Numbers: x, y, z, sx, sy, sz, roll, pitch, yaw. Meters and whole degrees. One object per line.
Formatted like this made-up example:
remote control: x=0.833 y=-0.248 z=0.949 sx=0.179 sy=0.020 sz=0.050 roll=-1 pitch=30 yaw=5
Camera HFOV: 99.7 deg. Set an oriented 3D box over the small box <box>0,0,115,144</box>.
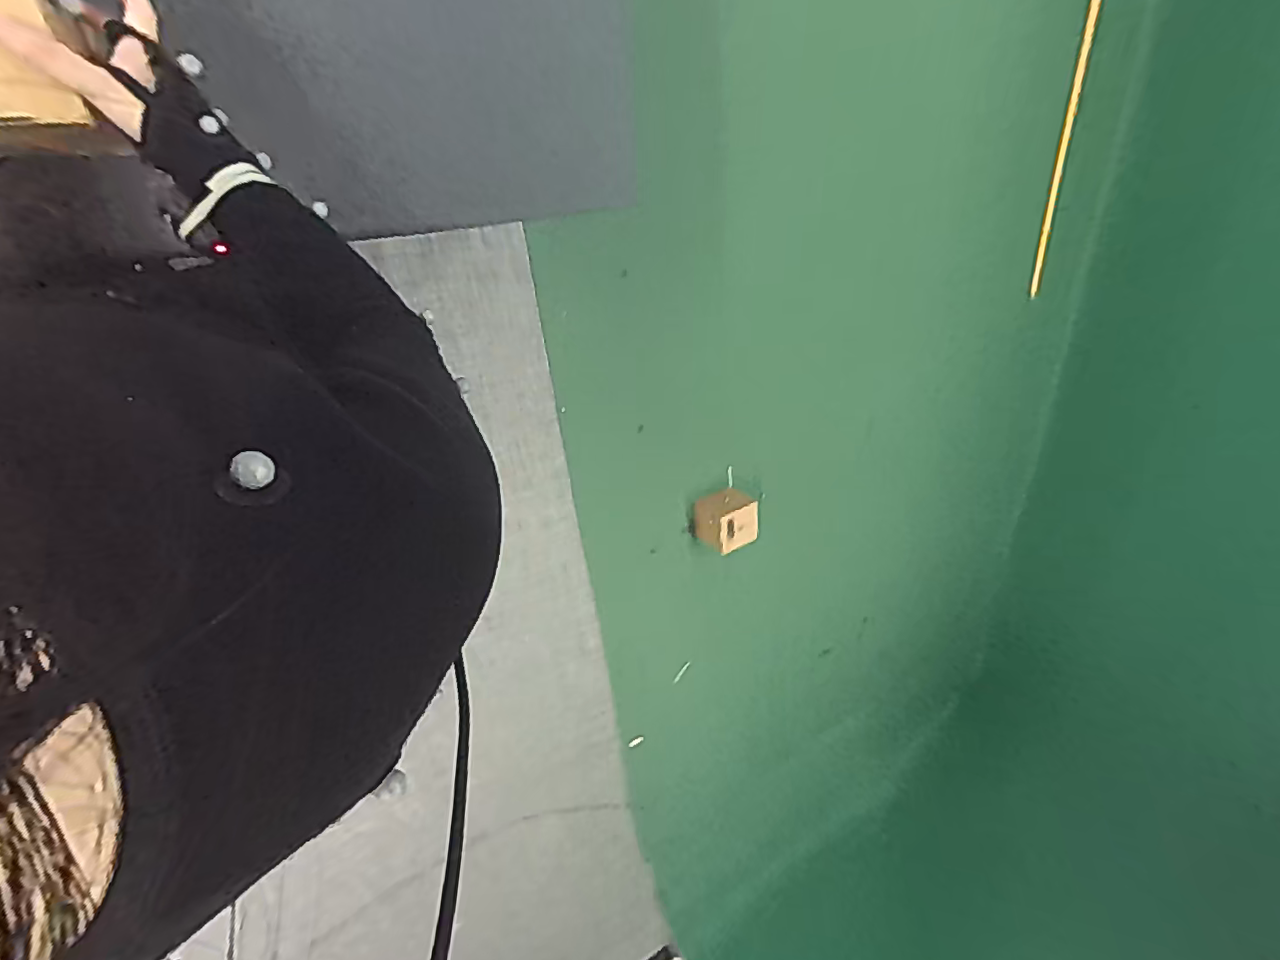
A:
small box: x=-0.515 y=-0.345 z=0.371 sx=0.168 sy=0.176 sz=0.179 roll=-19 pitch=121 yaw=-28
